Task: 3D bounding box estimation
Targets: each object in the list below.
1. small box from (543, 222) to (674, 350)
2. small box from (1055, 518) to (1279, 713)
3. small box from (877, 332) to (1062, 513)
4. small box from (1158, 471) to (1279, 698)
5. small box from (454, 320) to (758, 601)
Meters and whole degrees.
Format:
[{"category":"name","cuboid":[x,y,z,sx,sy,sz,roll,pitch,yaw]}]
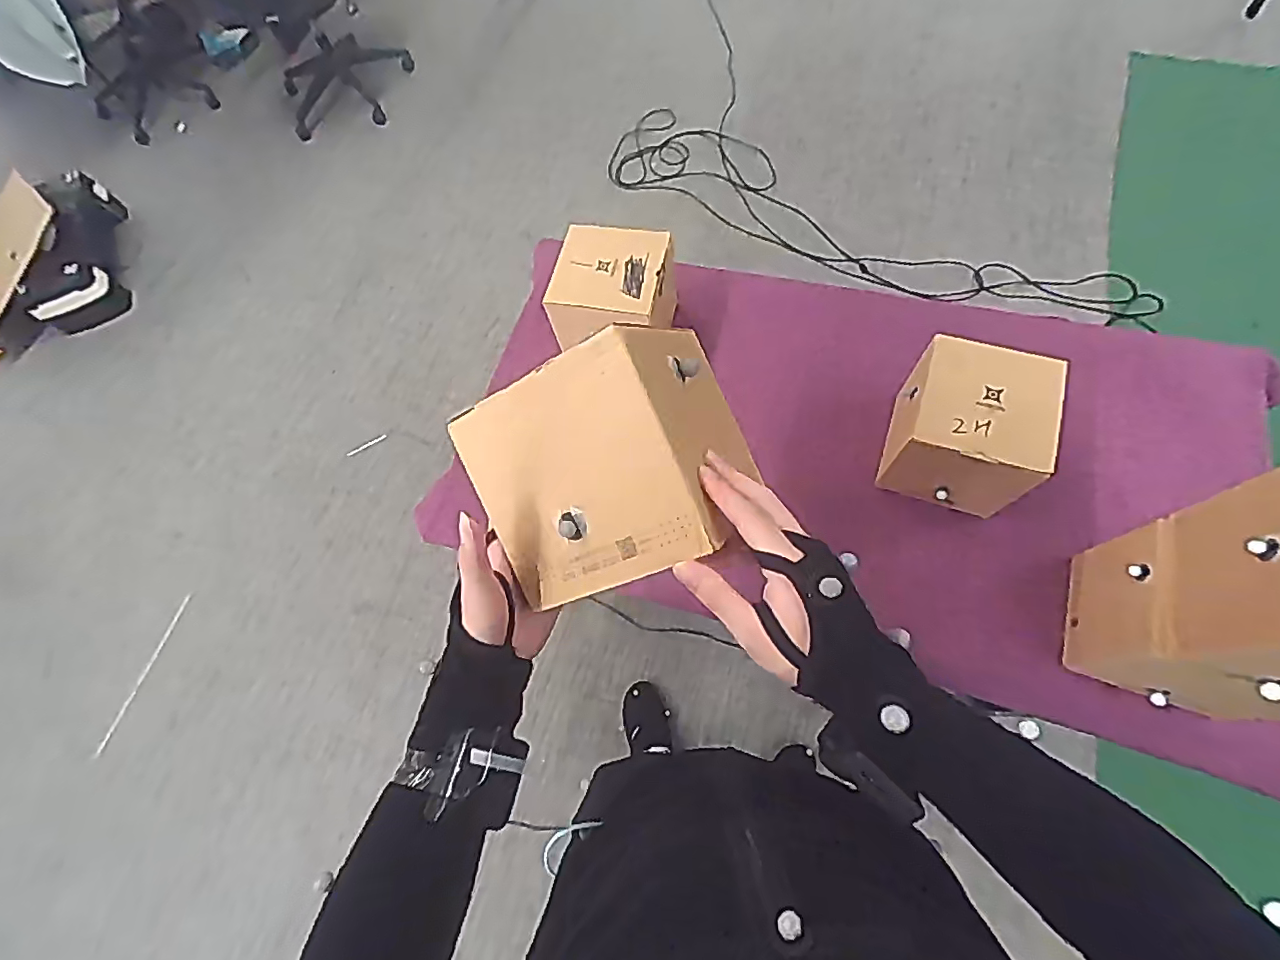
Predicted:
[{"category":"small box","cuboid":[-0.042,-0.310,0.931,0.179,0.176,0.168,10,70,11]},{"category":"small box","cuboid":[0.657,0.169,0.657,0.179,0.176,0.168,18,70,13]},{"category":"small box","cuboid":[0.462,-0.077,0.781,0.168,0.176,0.179,18,72,14]},{"category":"small box","cuboid":[0.642,0.104,0.508,0.168,0.176,0.179,17,70,15]},{"category":"small box","cuboid":[-0.015,-0.019,0.463,0.168,0.179,0.176,-23,93,27]}]
